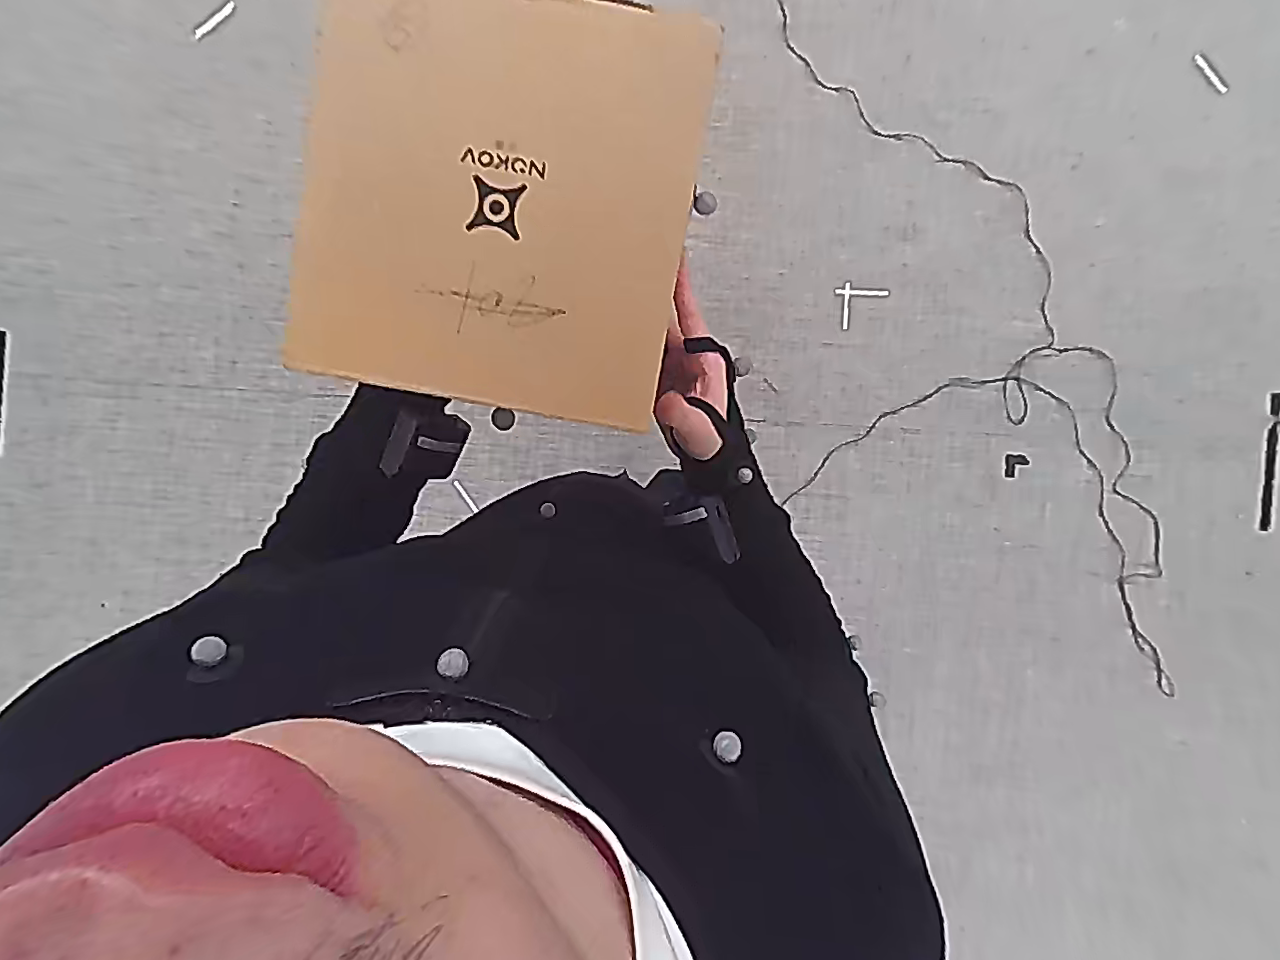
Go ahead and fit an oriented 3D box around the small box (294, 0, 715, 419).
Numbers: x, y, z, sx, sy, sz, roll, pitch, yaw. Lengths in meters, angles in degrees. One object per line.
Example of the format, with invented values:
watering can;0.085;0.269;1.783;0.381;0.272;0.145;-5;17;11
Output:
small box;-0.065;-0.137;0.322;0.168;0.176;0.179;11;97;-2
